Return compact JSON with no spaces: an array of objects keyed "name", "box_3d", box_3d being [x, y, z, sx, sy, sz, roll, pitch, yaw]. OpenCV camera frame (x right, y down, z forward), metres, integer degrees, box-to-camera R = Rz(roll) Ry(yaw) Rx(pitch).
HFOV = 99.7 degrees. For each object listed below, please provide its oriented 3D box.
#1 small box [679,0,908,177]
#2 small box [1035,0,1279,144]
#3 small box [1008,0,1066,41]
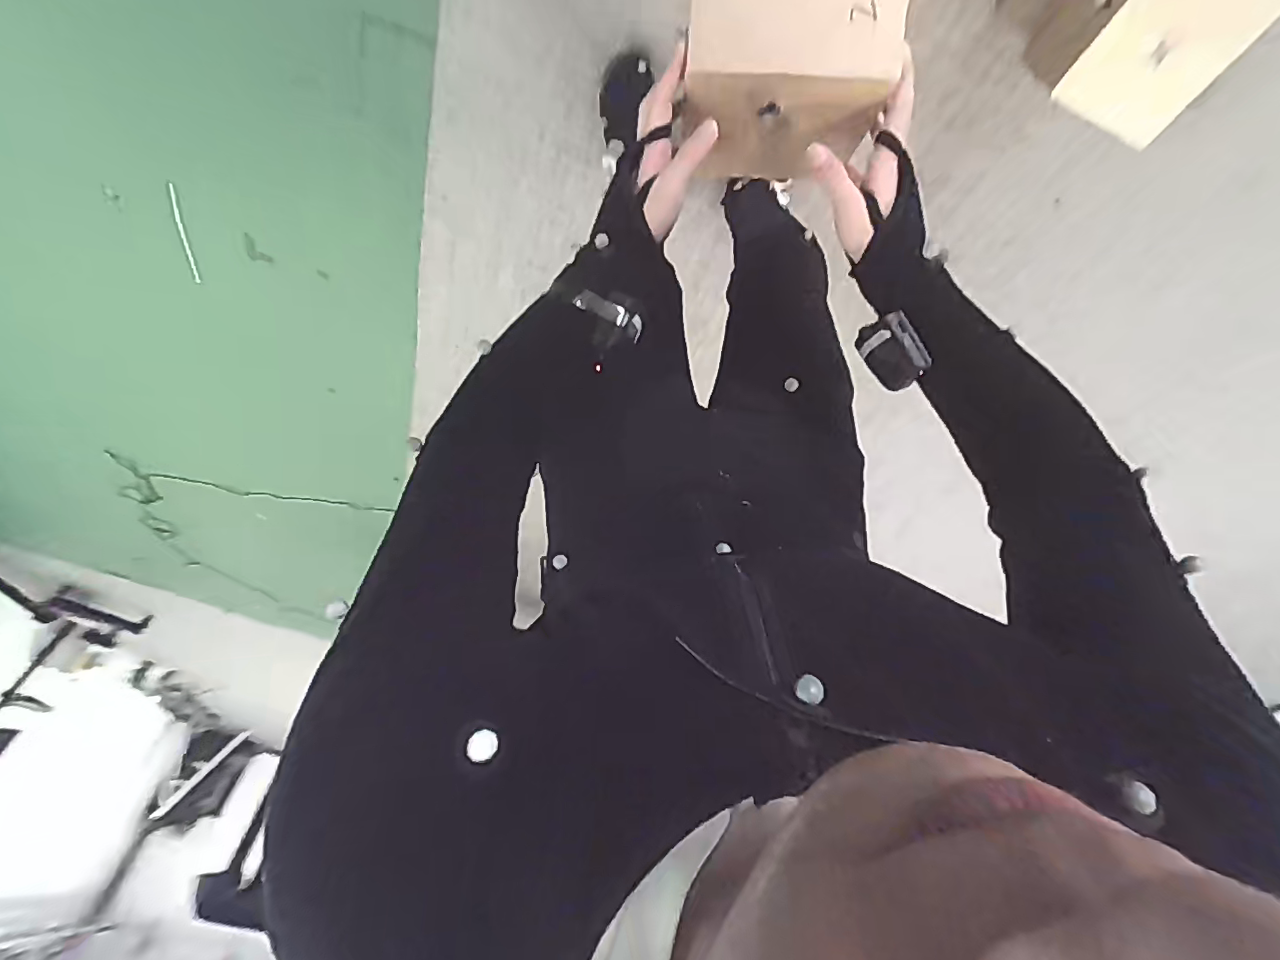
[{"name":"small box","box_3d":[0.128,-0.404,0.501,0.179,0.168,0.176,3,-175,3]},{"name":"small box","box_3d":[0.666,-0.595,0.713,0.168,0.176,0.179,20,140,-9]},{"name":"small box","box_3d":[0.695,-0.728,0.802,0.179,0.176,0.168,22,140,-12]}]
